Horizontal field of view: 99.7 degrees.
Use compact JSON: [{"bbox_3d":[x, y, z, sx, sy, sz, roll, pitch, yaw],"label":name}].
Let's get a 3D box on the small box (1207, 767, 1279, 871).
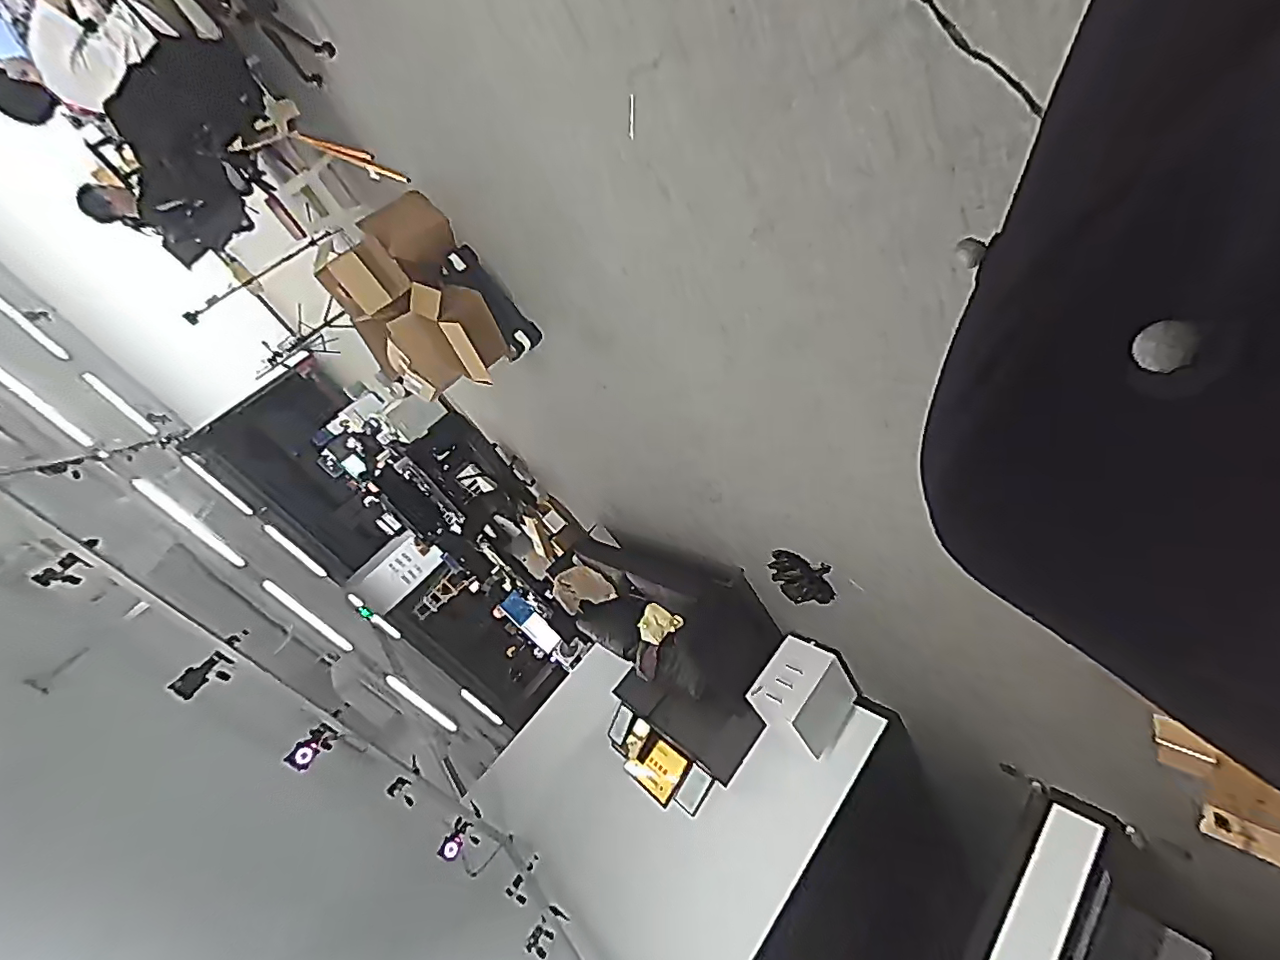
[{"bbox_3d":[1.707,0.924,1.479,0.179,0.176,0.168,16,142,50],"label":"small box"}]
